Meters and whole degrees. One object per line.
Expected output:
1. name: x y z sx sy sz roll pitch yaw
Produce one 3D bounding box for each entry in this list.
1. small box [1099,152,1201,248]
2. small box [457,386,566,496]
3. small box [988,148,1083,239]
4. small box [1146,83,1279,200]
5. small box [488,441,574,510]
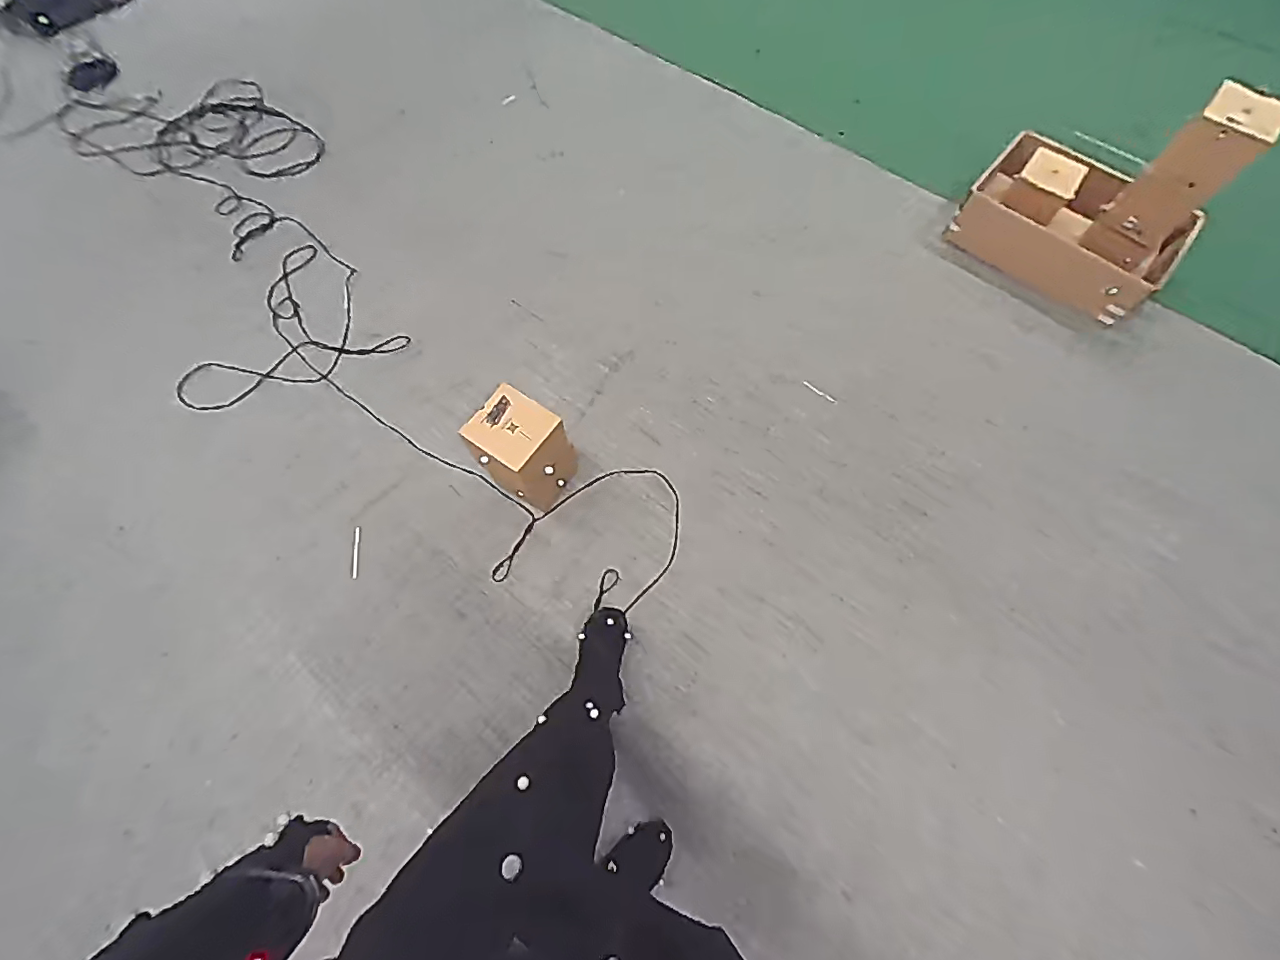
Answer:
1. small box: 1.497 -0.819 1.567 0.168 0.176 0.179 40 74 16
2. small box: -0.300 -0.086 1.301 0.179 0.176 0.168 33 71 12
3. small box: 1.305 -0.948 1.797 0.168 0.176 0.179 35 72 12
4. small box: 1.494 -0.882 1.415 0.168 0.176 0.179 37 72 15
5. small box: -0.294 -0.037 1.458 0.179 0.176 0.168 29 69 12
